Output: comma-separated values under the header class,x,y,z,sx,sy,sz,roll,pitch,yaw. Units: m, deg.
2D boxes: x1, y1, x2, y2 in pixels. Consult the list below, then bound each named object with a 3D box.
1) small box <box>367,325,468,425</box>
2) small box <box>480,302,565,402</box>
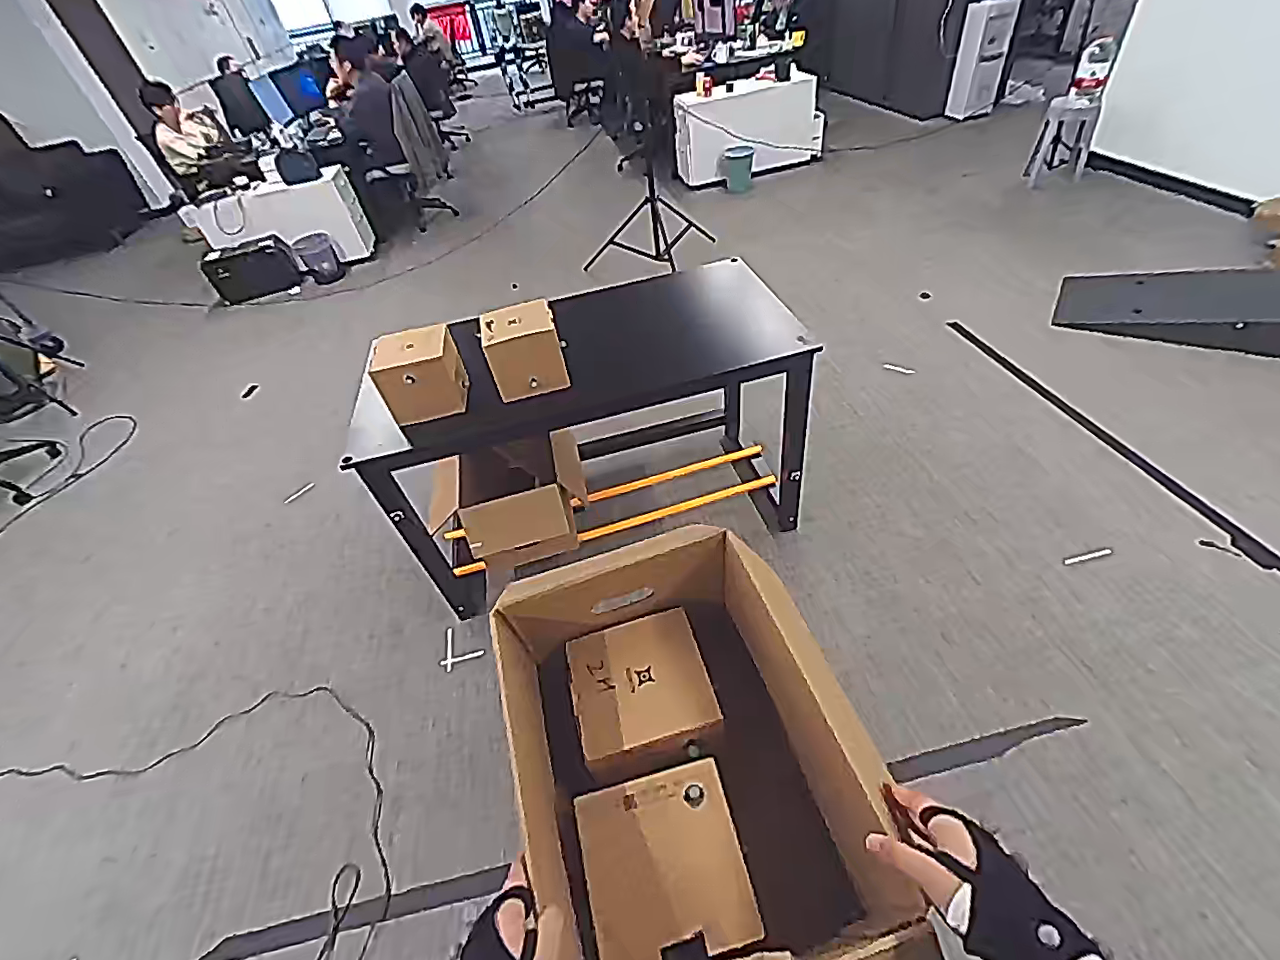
class,x,y,z,sx,sy,sz,roll,pitch,yaw
small box,-0.548,-0.259,1.351,0.179,0.176,0.168,-13,45,-4
small box,-0.292,-0.322,1.366,0.179,0.176,0.168,-15,44,-5
